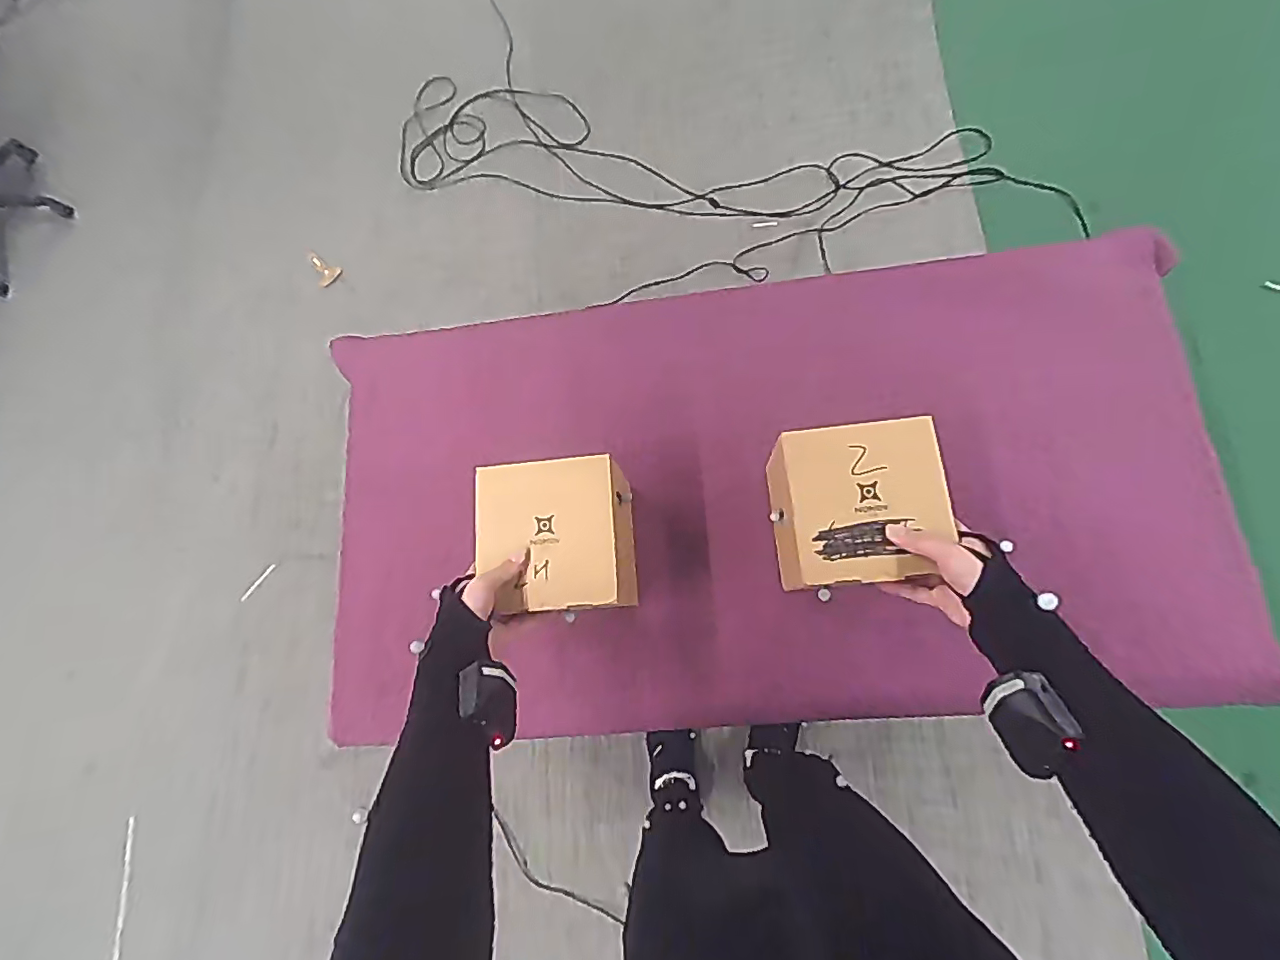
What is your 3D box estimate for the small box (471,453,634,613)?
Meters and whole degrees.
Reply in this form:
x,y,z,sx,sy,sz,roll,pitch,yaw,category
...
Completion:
x,y,z,sx,sy,sz,roll,pitch,yaw,category
-0.102,0.077,0.691,0.168,0.176,0.179,-5,77,6,small box
